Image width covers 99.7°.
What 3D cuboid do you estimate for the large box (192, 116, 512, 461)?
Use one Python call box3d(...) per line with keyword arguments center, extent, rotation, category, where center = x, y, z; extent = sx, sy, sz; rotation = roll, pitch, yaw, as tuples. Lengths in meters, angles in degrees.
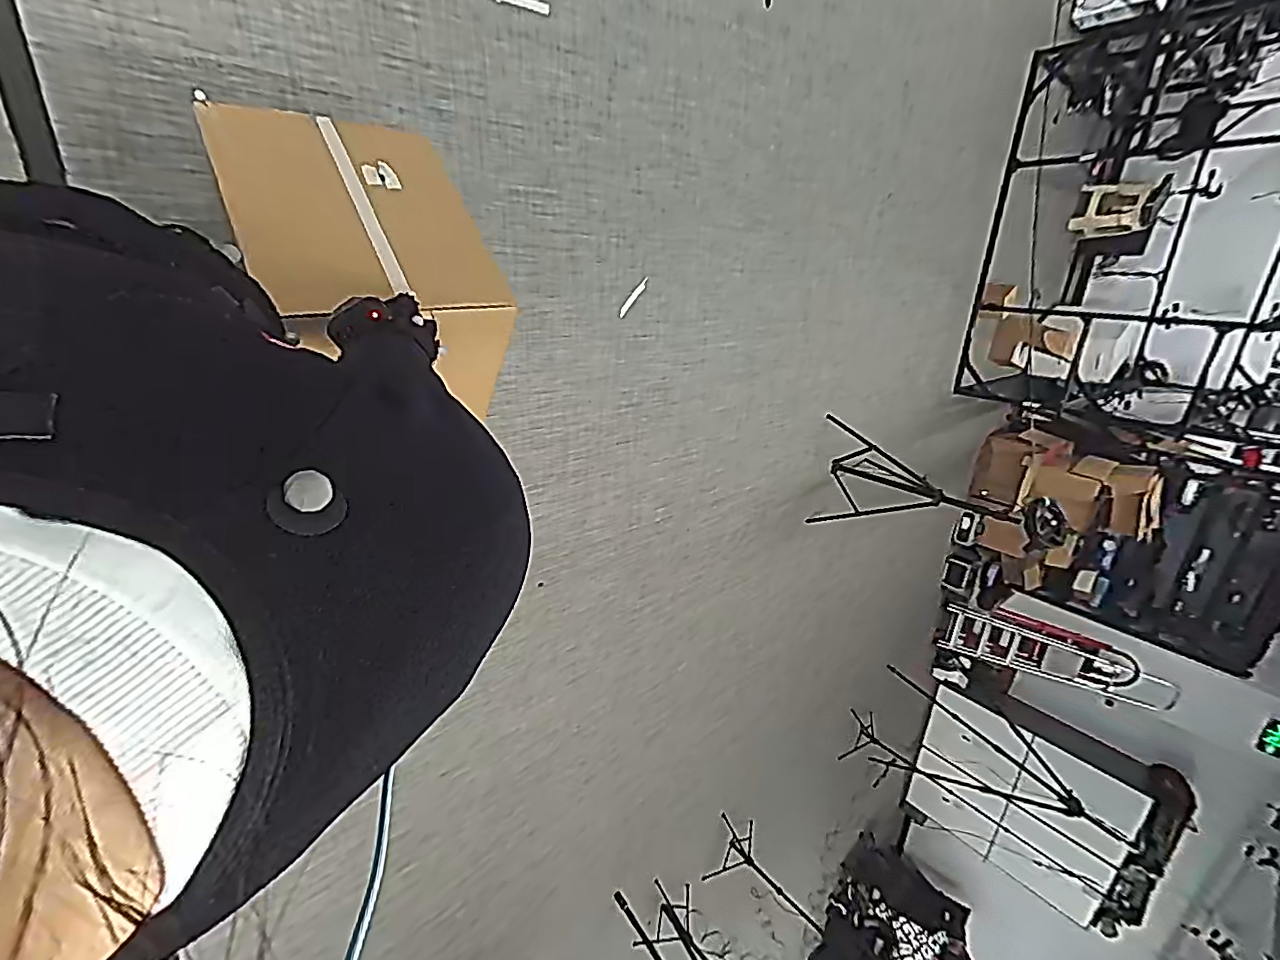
box3d(center=(-0.458, -0.300, 0.881), extent=(0.320, 0.408, 0.320), rotation=(-17, 157, -36), category="large box")
